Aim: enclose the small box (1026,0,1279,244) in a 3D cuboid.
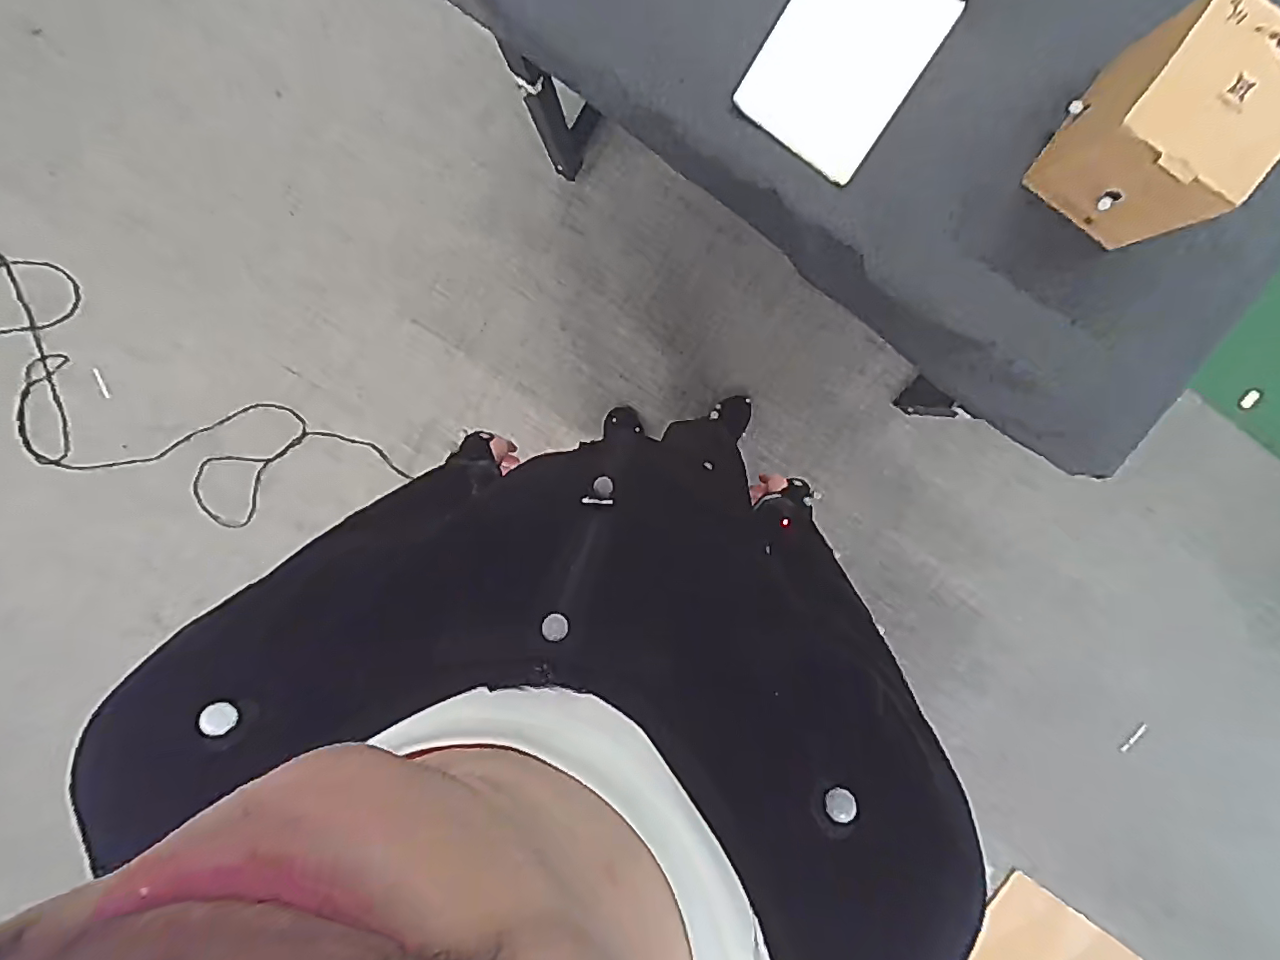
[{"bbox_3d":[0.634,-0.427,0.673,0.168,0.176,0.179,33,99,-5],"label":"small box"}]
